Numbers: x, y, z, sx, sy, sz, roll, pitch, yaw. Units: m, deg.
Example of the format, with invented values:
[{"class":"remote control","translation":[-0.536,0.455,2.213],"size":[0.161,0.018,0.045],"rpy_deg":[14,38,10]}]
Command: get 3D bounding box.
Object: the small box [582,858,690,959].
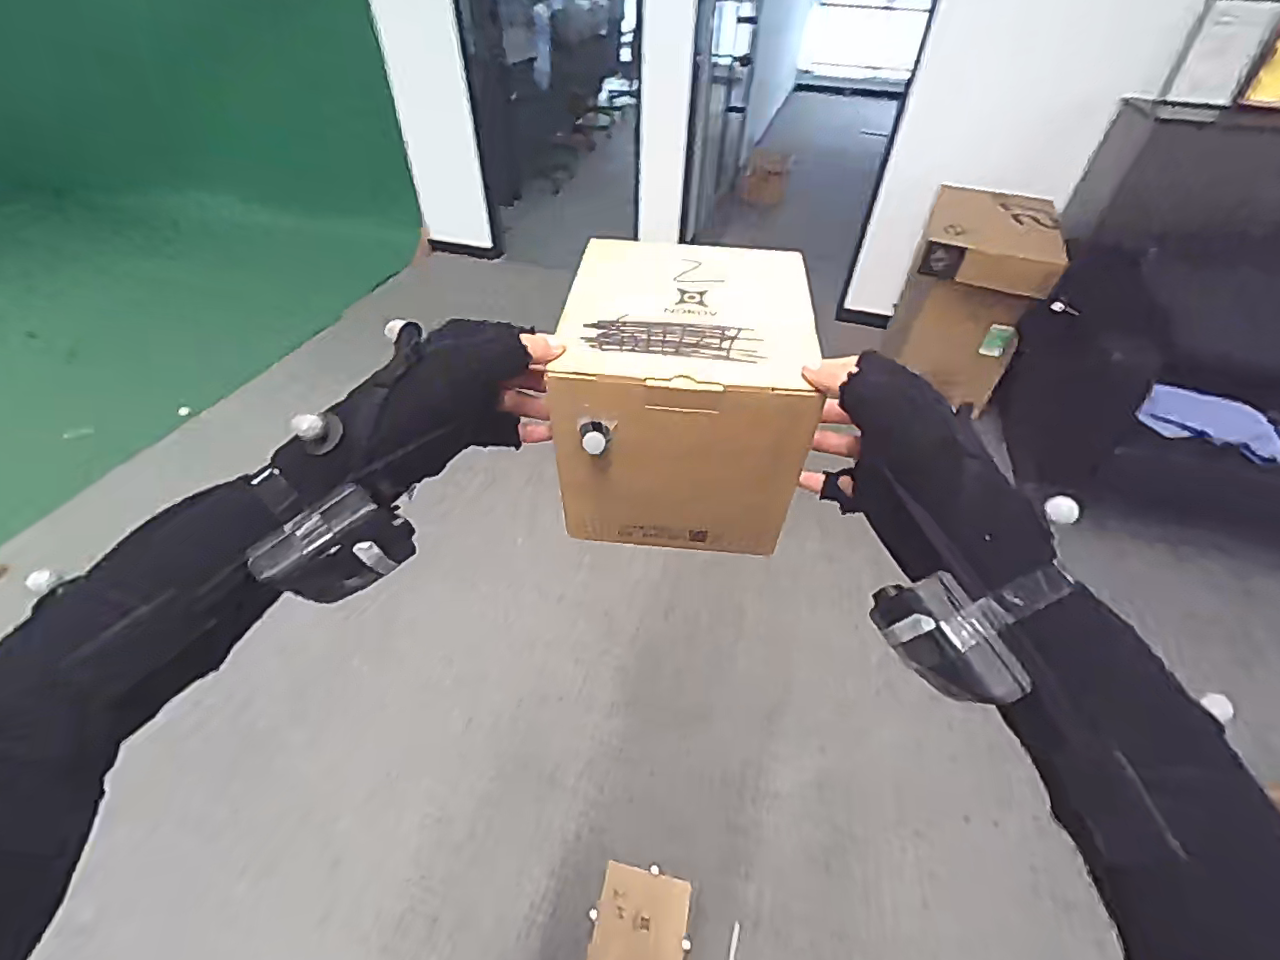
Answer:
[{"class":"small box","translation":[-0.006,0.895,1.085],"size":[0.179,0.176,0.168],"rpy_deg":[11,45,8]}]
